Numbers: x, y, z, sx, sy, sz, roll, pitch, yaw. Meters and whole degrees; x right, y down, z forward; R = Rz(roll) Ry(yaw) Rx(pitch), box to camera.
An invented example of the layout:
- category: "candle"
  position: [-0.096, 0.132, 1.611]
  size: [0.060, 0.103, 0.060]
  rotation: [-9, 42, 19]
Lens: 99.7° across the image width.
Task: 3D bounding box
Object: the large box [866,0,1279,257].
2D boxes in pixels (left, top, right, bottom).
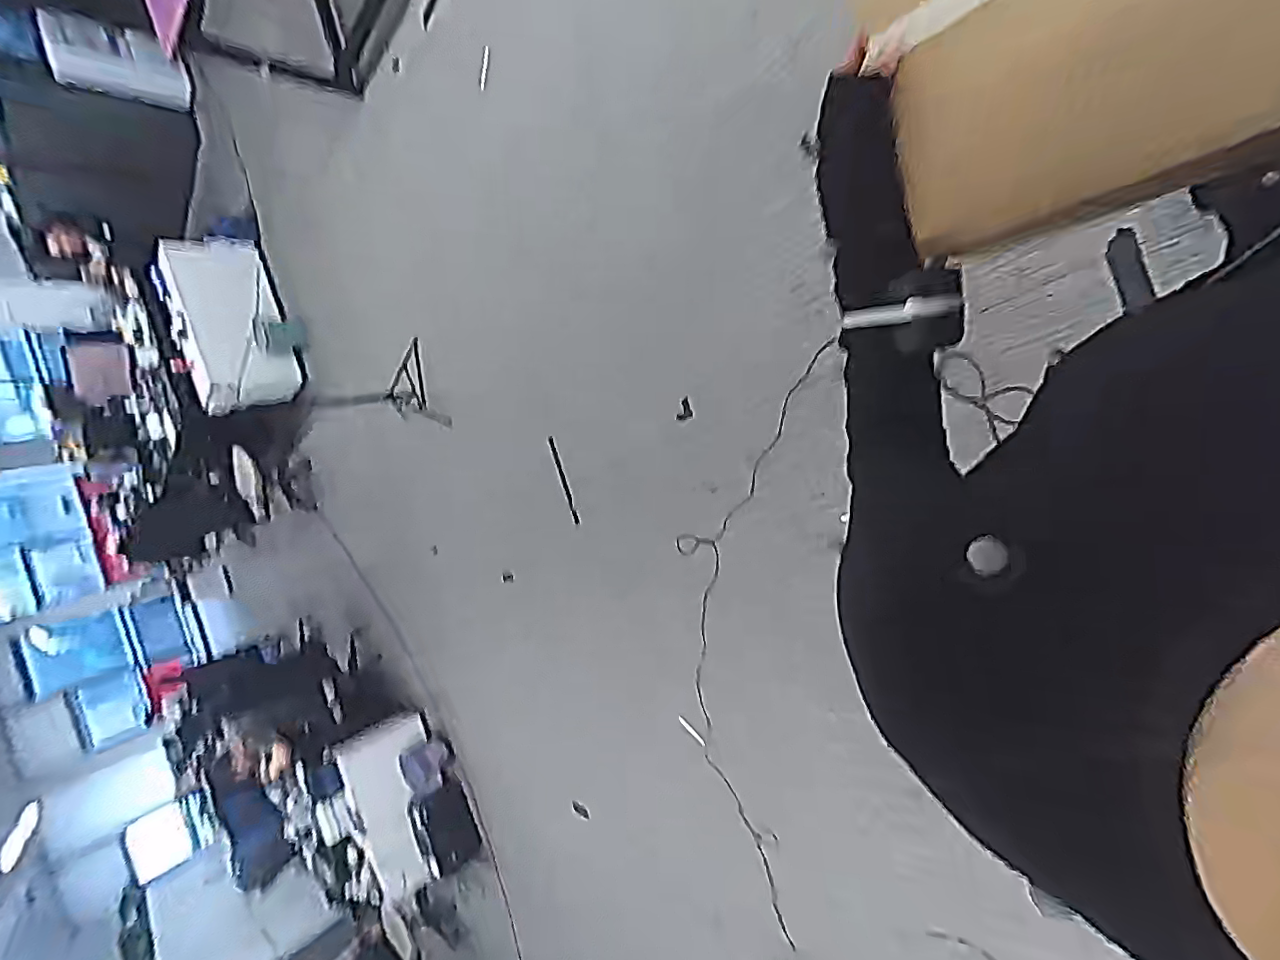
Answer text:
- category: "large box"
  position: [0.419, -0.399, 0.399]
  size: [0.408, 0.320, 0.320]
  rotation: [-12, 101, 41]
